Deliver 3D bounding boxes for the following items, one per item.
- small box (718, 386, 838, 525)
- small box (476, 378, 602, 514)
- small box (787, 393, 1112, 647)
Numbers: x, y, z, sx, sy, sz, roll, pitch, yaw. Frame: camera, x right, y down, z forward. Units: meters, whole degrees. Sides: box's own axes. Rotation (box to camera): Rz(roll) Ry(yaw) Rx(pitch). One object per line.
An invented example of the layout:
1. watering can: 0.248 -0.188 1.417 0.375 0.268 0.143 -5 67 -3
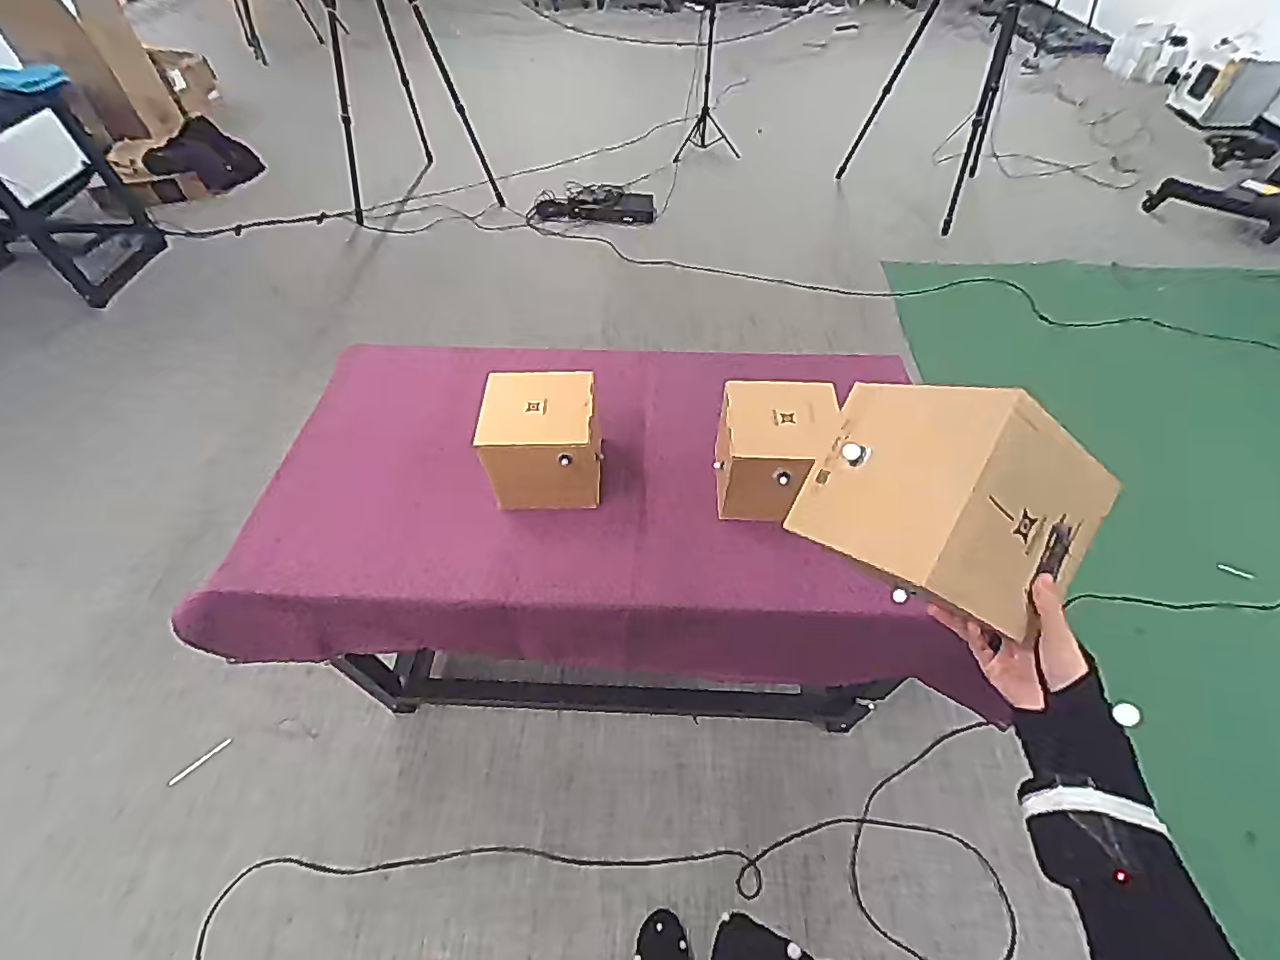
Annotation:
1. small box: 0.223 -0.036 0.893 0.179 0.176 0.168 2 52 2
2. small box: -0.160 -0.053 0.916 0.179 0.176 0.168 -1 51 -1
3. small box: 0.278 0.026 0.511 0.179 0.176 0.168 27 88 -24
